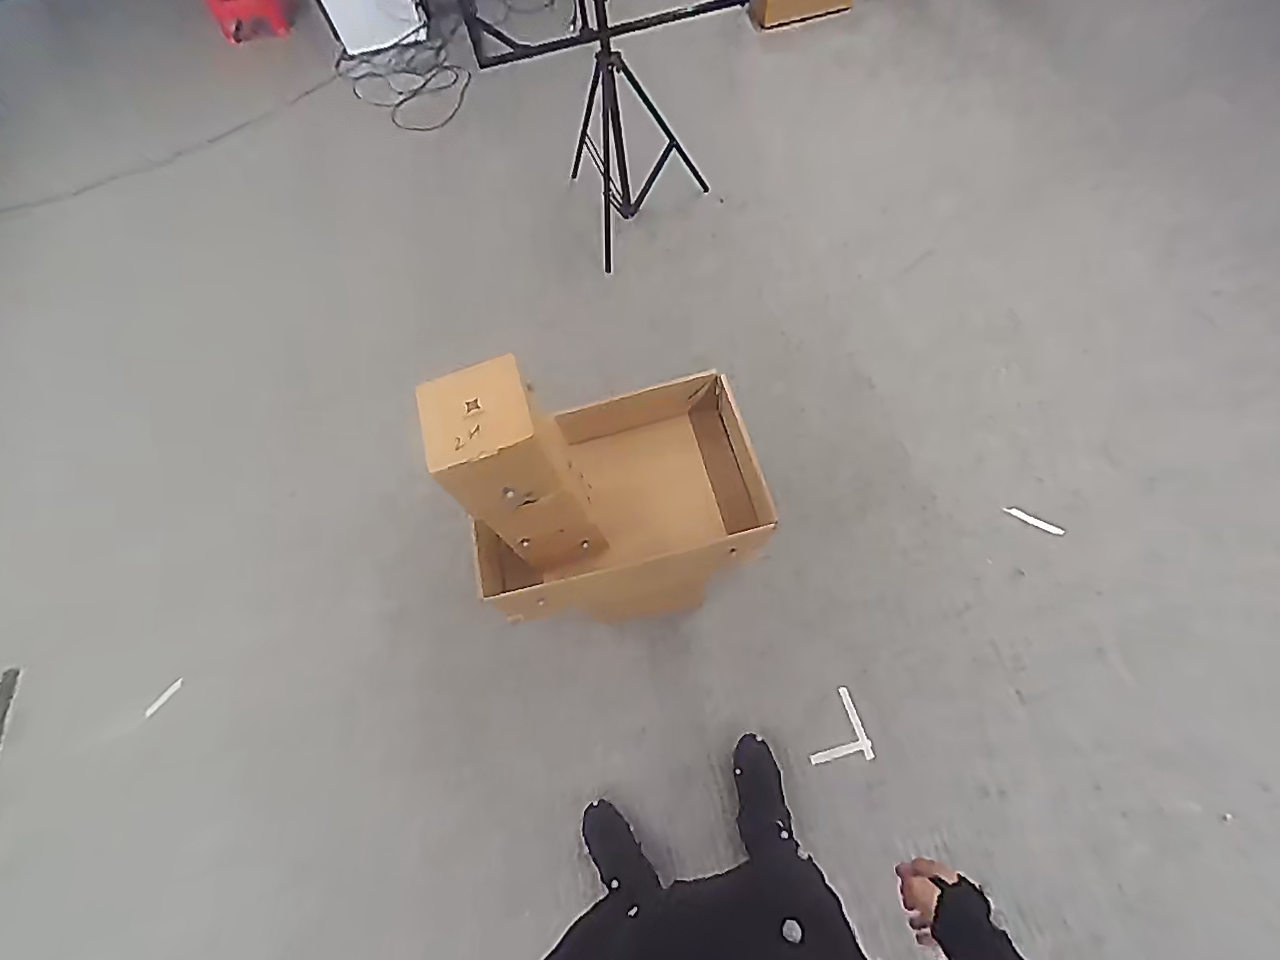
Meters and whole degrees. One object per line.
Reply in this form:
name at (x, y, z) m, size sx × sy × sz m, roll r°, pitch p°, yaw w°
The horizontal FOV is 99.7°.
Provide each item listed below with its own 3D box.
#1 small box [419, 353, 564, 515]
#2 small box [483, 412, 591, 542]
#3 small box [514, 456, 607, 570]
small box at (-0.239, -0.070, 0.890) m, size 0.168 × 0.176 × 0.179 m, roll -20°, pitch 62°, yaw -1°
small box at (-0.203, 0.004, 1.035) m, size 0.168 × 0.176 × 0.179 m, roll -18°, pitch 62°, yaw -1°
small box at (-0.178, 0.078, 1.179) m, size 0.179 × 0.176 × 0.168 m, roll -19°, pitch 63°, yaw -1°
